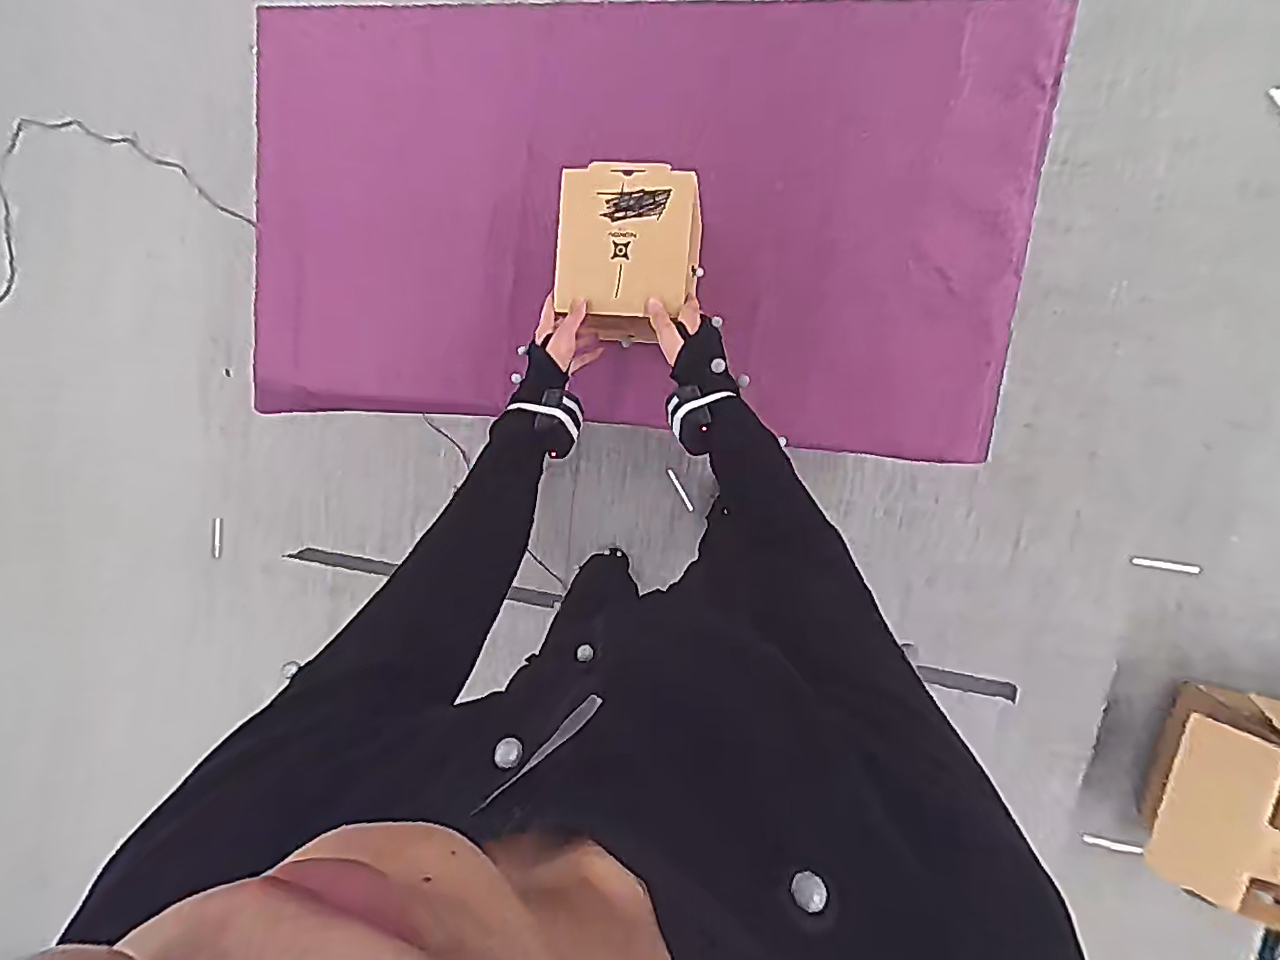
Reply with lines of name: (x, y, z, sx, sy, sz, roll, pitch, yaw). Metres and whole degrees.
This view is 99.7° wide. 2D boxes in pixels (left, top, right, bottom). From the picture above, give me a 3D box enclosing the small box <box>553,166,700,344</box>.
small box: (-0.009, -0.296, 0.739, 0.168, 0.176, 0.179, 7, 95, 8)
